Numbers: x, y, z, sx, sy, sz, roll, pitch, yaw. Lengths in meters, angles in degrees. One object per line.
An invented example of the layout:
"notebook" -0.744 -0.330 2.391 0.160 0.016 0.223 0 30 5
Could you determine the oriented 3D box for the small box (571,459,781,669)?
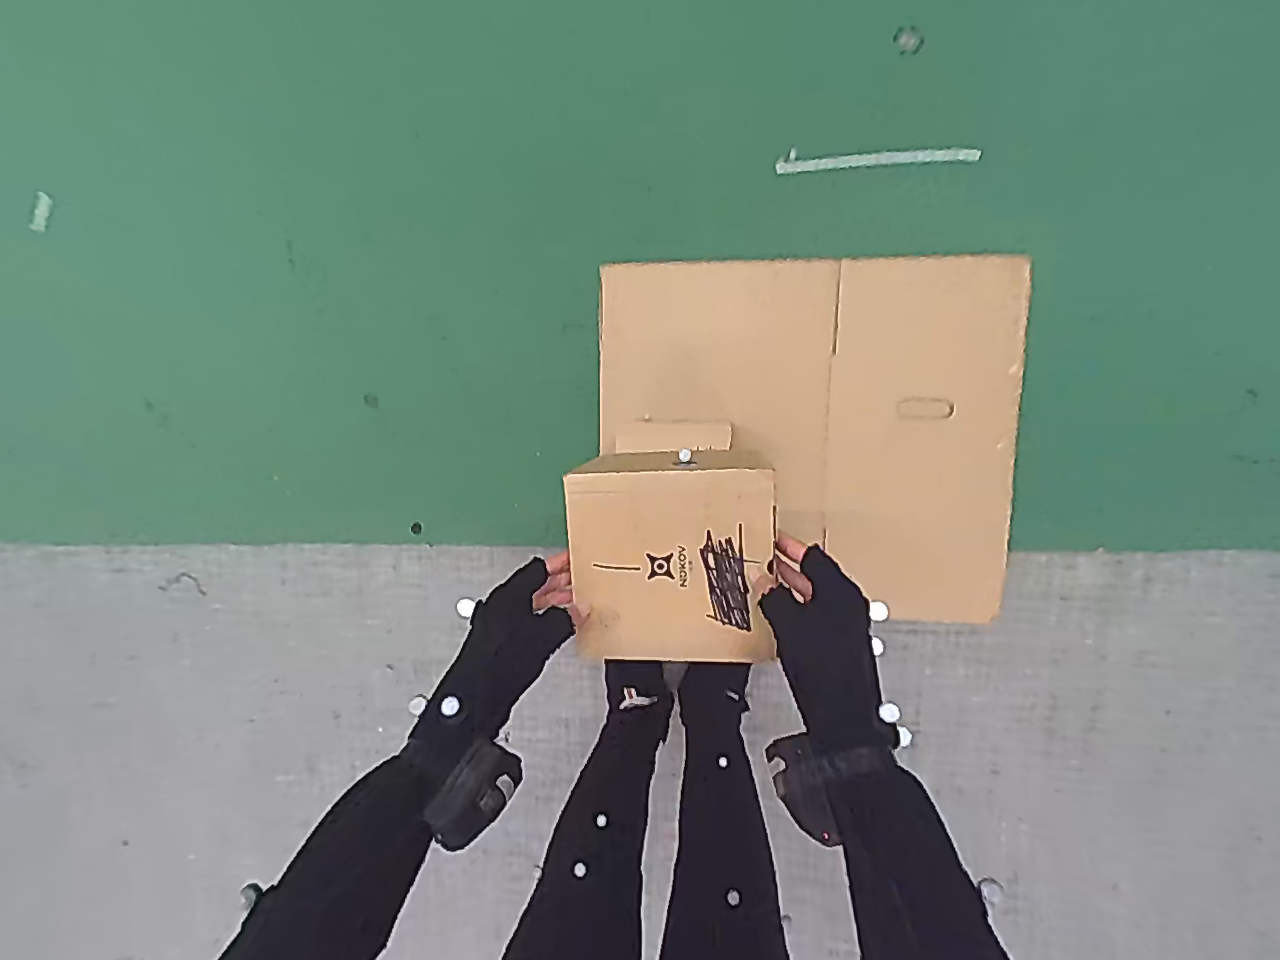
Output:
"small box" 0.041 0.069 0.536 0.179 0.176 0.168 -1 98 10
